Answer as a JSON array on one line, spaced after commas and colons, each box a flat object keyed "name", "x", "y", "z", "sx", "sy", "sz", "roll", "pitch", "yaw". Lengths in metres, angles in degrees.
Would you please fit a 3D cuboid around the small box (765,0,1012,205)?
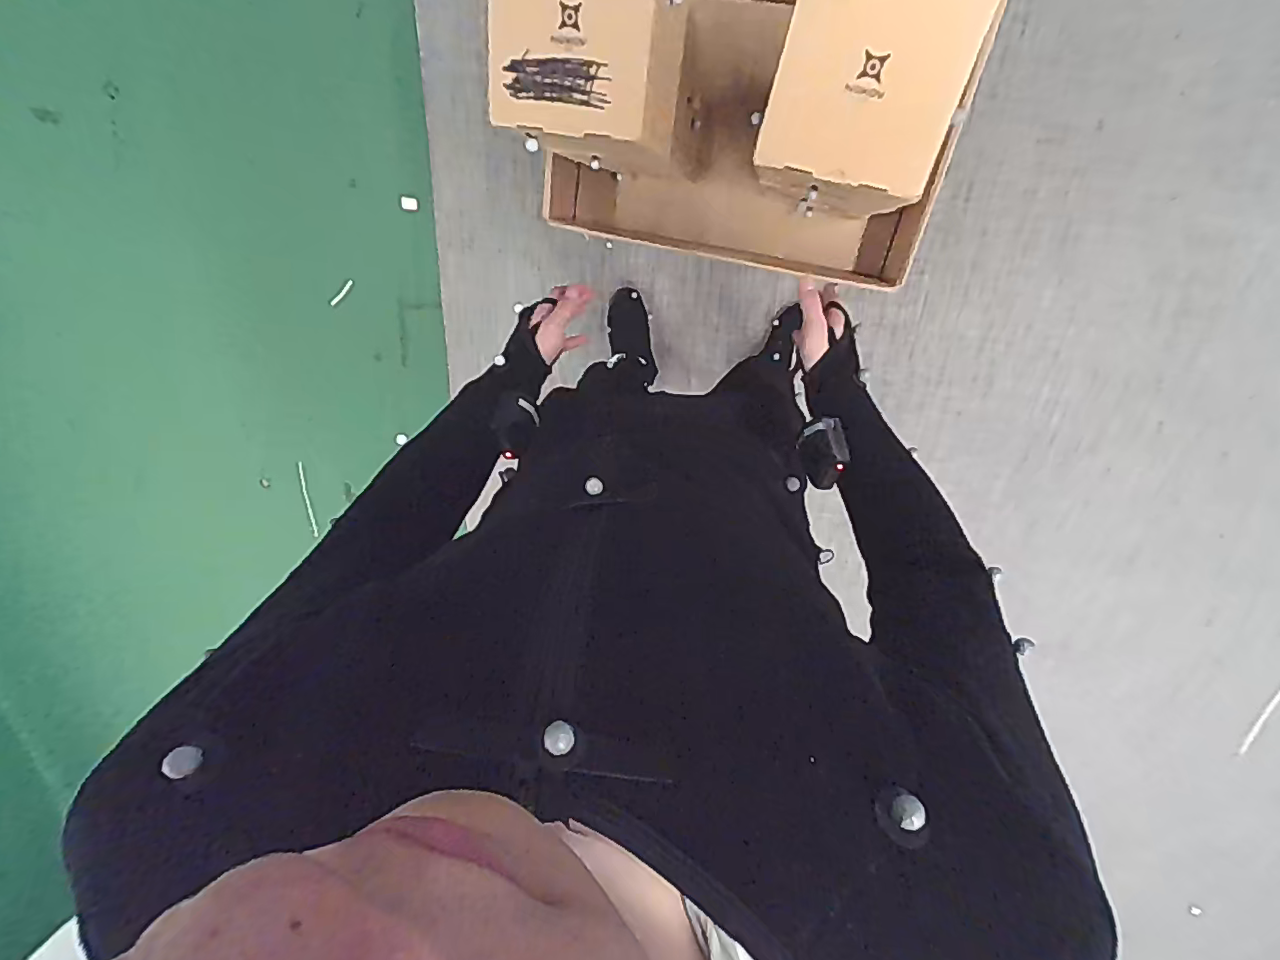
[{"name": "small box", "x": 0.232, "y": -0.395, "z": 0.550, "sx": 0.168, "sy": 0.176, "sz": 0.179, "roll": 17, "pitch": 117, "yaw": 6}]

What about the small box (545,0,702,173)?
[{"name": "small box", "x": -0.016, "y": -0.531, "z": 0.726, "sx": 0.168, "sy": 0.176, "sz": 0.179, "roll": 12, "pitch": 115, "yaw": 9}]

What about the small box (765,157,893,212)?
[{"name": "small box", "x": 0.264, "y": -0.459, "z": 0.695, "sx": 0.168, "sy": 0.176, "sz": 0.179, "roll": 17, "pitch": 117, "yaw": 6}]
